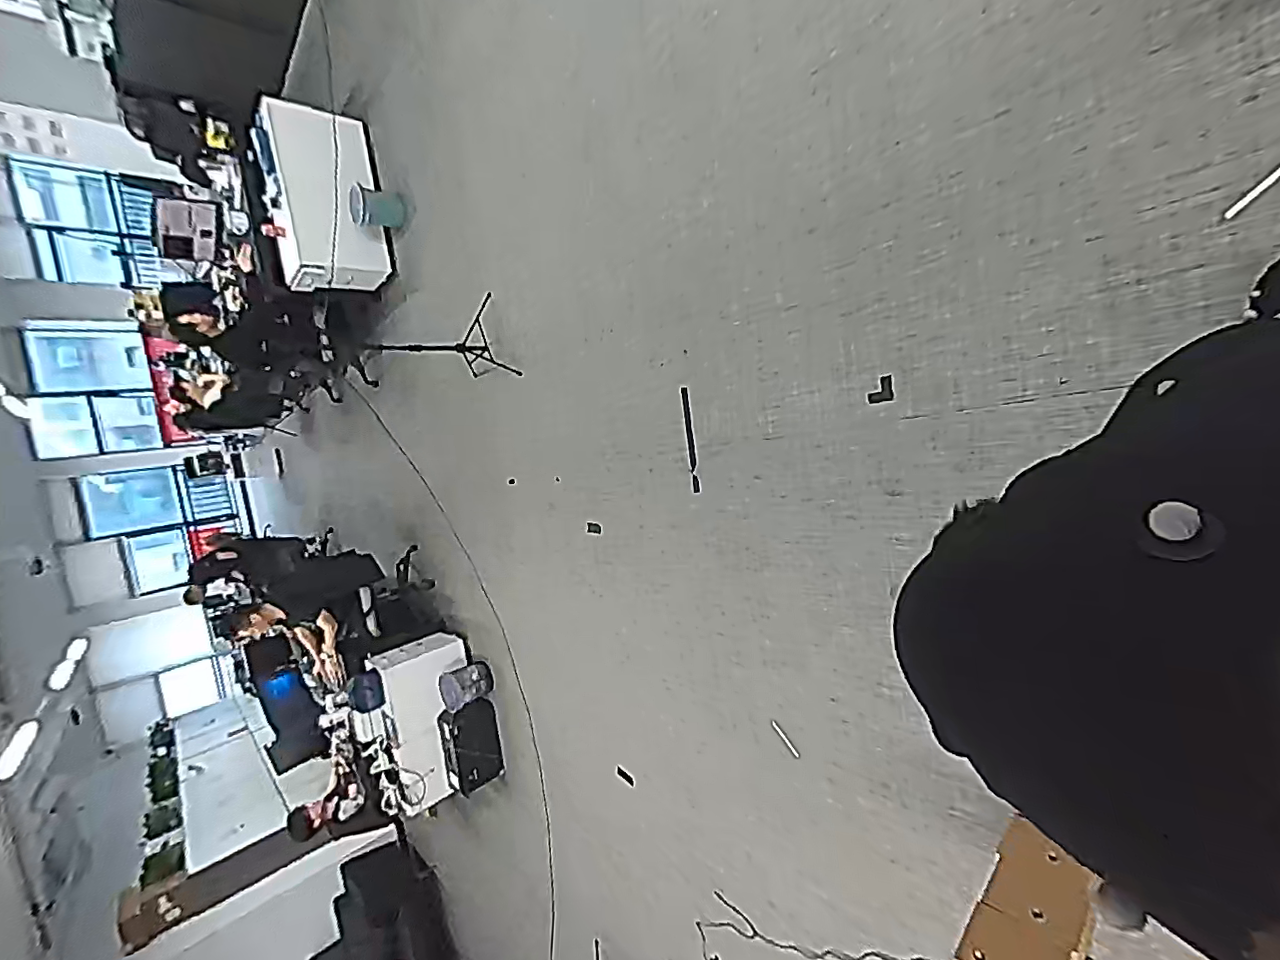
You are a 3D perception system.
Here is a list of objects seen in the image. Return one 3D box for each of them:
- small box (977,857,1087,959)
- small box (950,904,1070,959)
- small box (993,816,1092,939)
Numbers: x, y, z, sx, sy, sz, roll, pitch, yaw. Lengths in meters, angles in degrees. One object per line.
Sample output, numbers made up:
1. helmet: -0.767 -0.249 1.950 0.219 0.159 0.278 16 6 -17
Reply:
1. small box: 0.879 1.002 1.212 0.179 0.176 0.168 4 103 47
2. small box: 0.759 1.031 1.105 0.179 0.176 0.168 1 101 48
3. small box: 0.993 0.975 1.330 0.179 0.176 0.168 1 100 47
